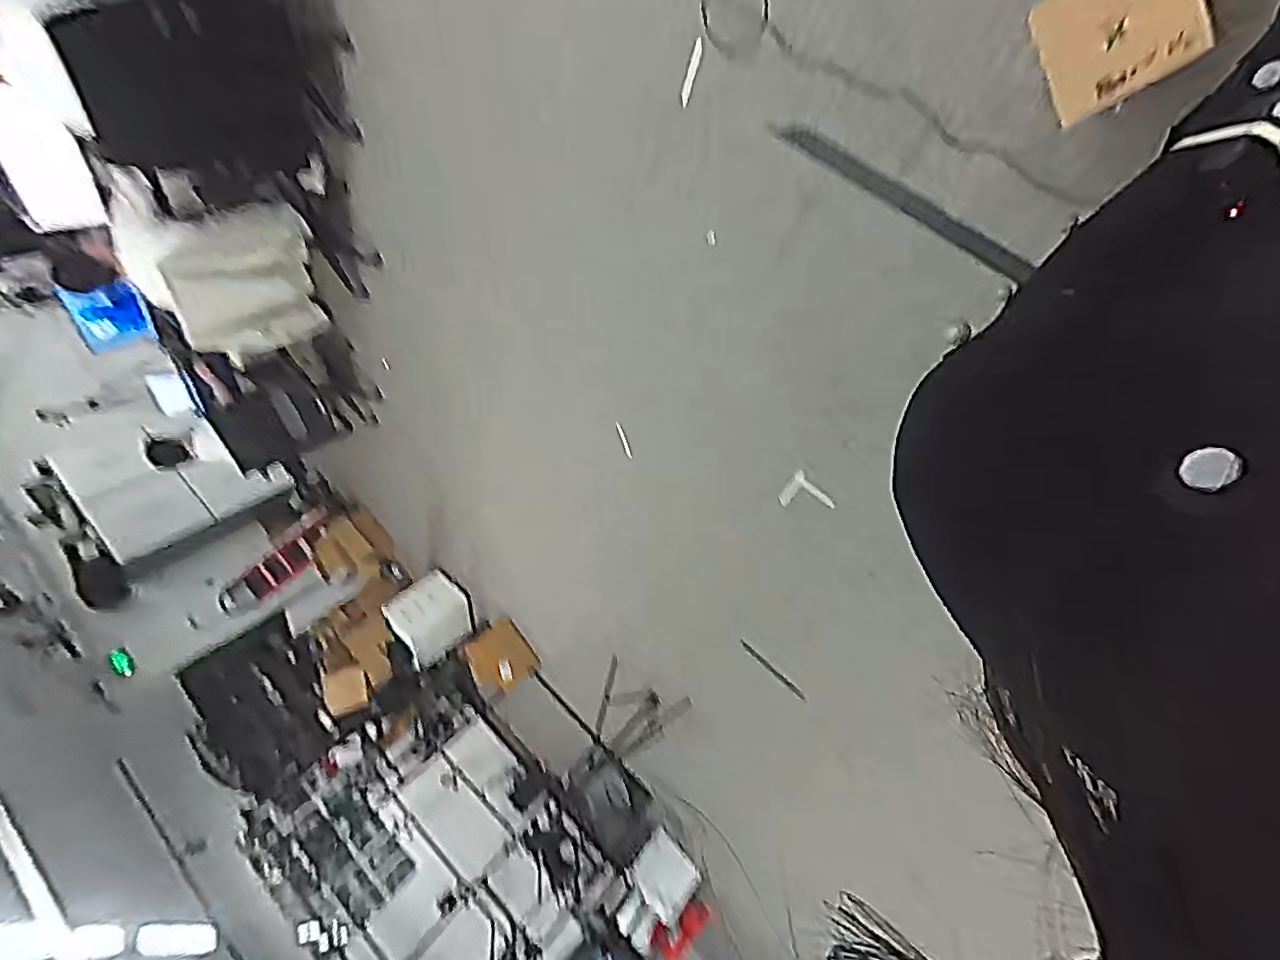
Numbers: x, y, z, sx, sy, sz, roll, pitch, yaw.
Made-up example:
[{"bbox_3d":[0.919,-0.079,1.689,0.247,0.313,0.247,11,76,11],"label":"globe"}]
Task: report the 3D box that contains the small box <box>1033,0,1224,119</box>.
[{"bbox_3d":[0.707,-0.664,0.786,0.168,0.176,0.179,-16,106,51],"label":"small box"}]
